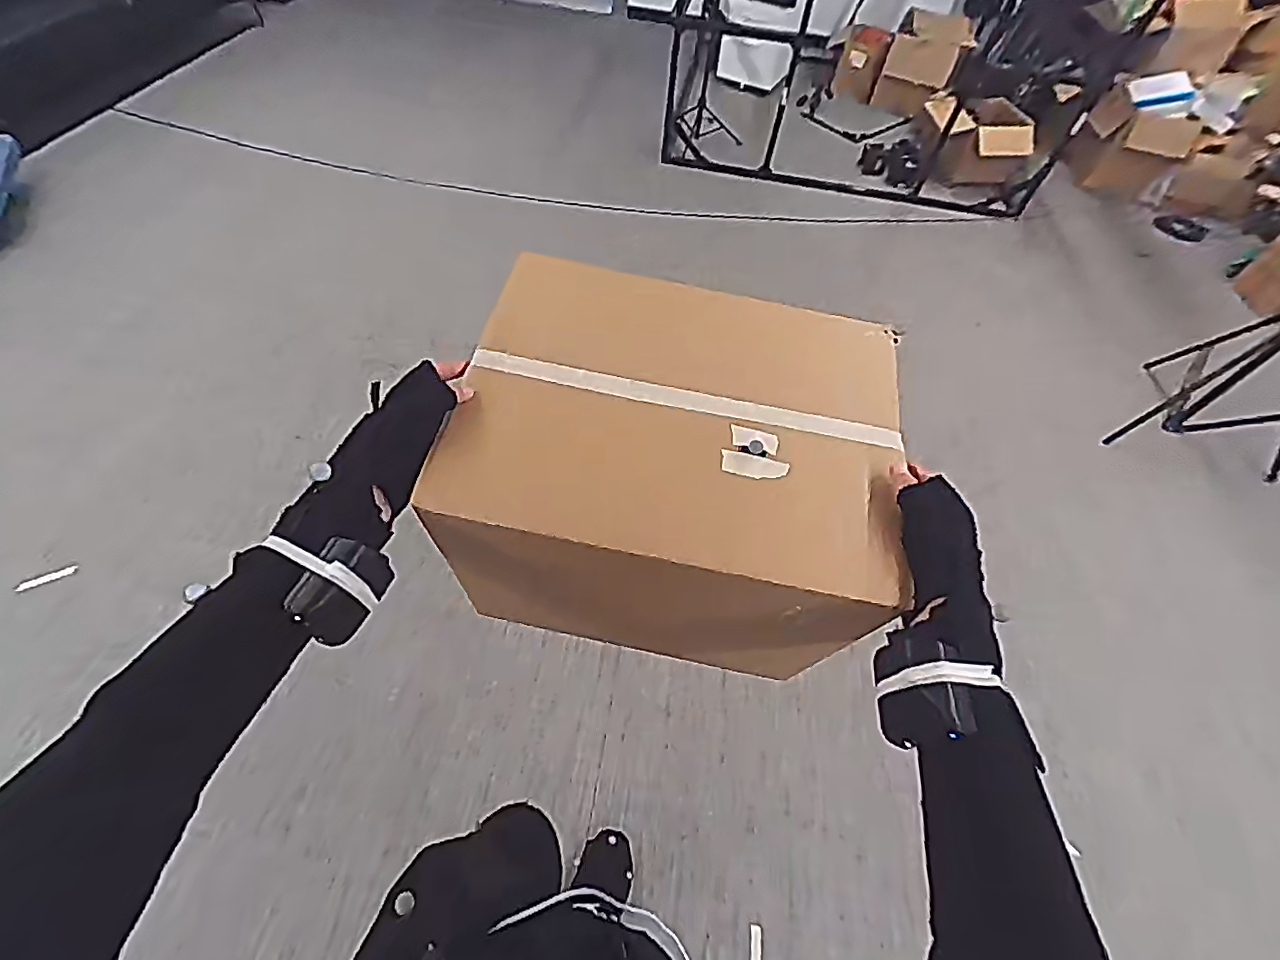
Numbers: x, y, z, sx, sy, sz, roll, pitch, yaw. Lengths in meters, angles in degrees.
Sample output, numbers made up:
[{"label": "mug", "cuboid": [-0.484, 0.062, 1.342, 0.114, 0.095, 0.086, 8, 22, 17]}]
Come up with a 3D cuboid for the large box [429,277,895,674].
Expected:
[{"label": "large box", "cuboid": [0.026, 0.014, 0.648, 0.408, 0.320, 0.320, 12, 60, 0]}]
